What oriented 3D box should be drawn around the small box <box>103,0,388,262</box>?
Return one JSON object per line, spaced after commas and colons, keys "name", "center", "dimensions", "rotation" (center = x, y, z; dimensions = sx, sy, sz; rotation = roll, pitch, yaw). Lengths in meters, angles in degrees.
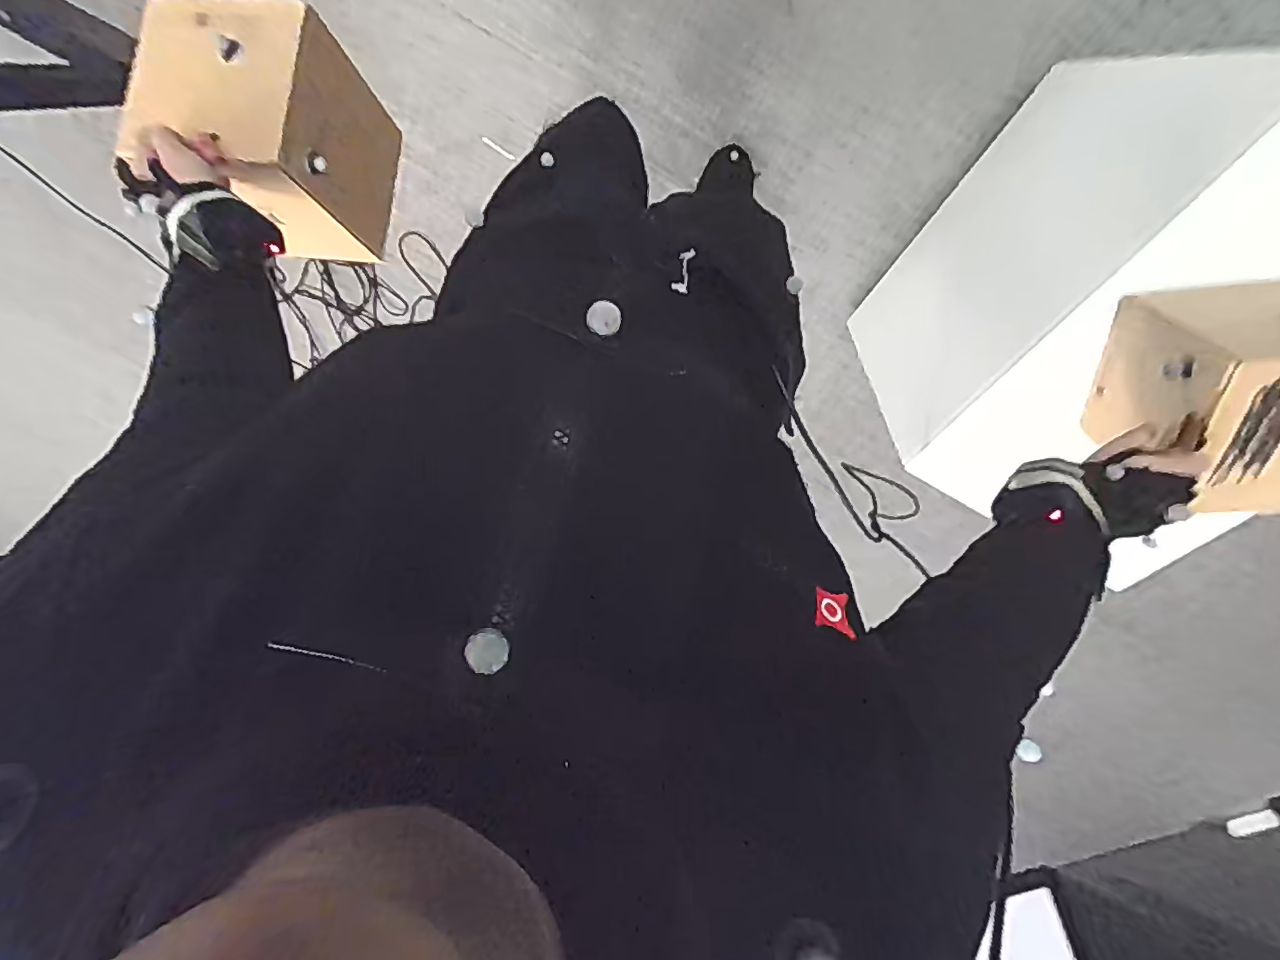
{"name": "small box", "center": [-0.397, -0.361, 0.579], "dimensions": [0.168, 0.179, 0.176], "rotation": [5, 83, 6]}
